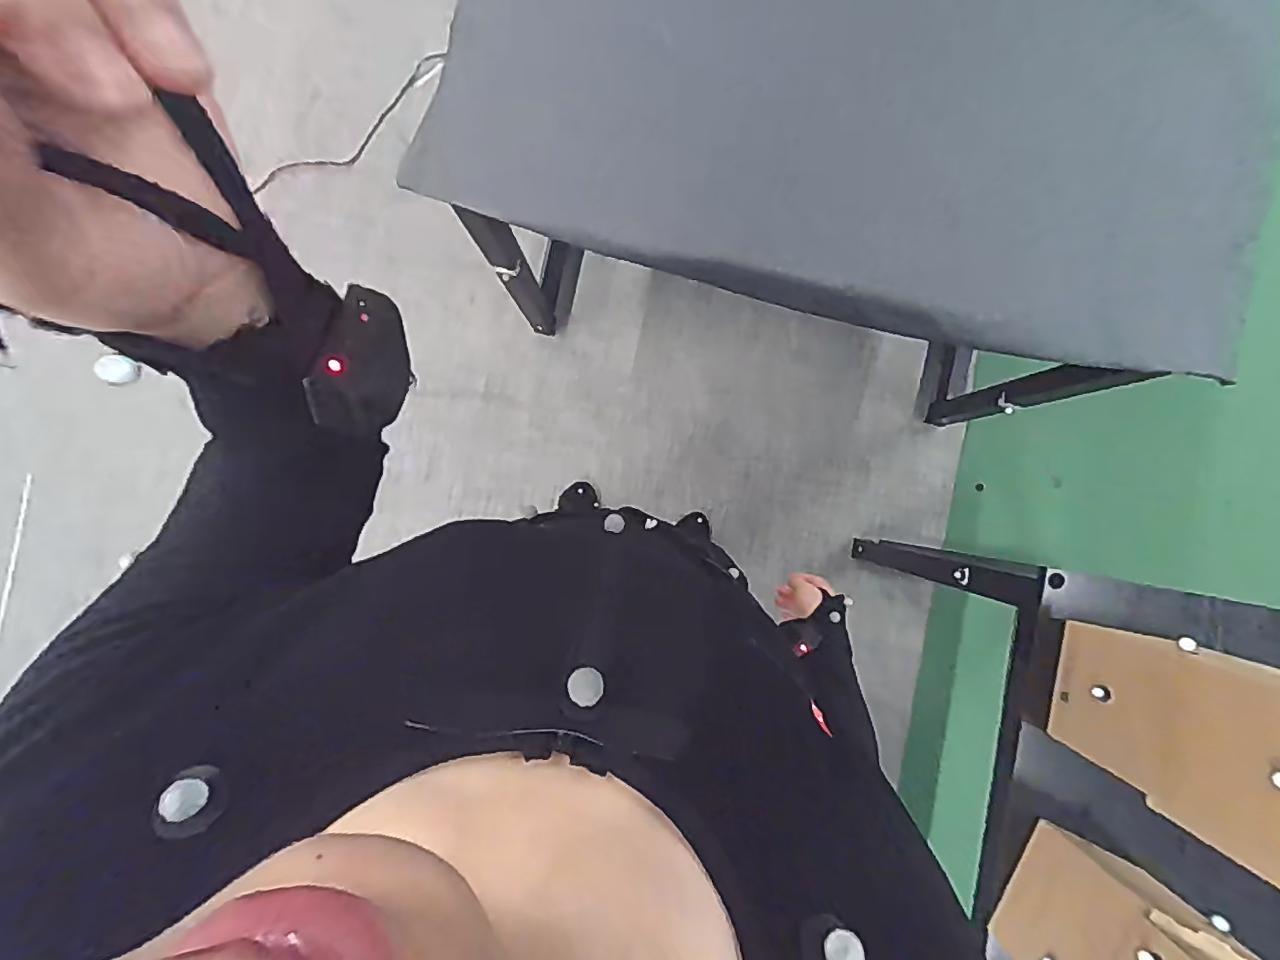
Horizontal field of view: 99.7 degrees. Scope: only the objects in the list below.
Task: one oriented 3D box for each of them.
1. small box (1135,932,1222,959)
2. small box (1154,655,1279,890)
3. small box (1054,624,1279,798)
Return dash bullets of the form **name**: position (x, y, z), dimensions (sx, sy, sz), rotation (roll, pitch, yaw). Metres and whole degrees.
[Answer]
- **small box**: position (0.586, 0.588, 0.507), dimensions (0.179, 0.176, 0.168), rotation (29, 90, 0)
- **small box**: position (0.653, 0.290, 0.514), dimensions (0.168, 0.176, 0.179), rotation (11, 89, 1)
- **small box**: position (0.671, 0.290, 0.676), dimensions (0.179, 0.176, 0.168), rotation (11, 90, 1)
